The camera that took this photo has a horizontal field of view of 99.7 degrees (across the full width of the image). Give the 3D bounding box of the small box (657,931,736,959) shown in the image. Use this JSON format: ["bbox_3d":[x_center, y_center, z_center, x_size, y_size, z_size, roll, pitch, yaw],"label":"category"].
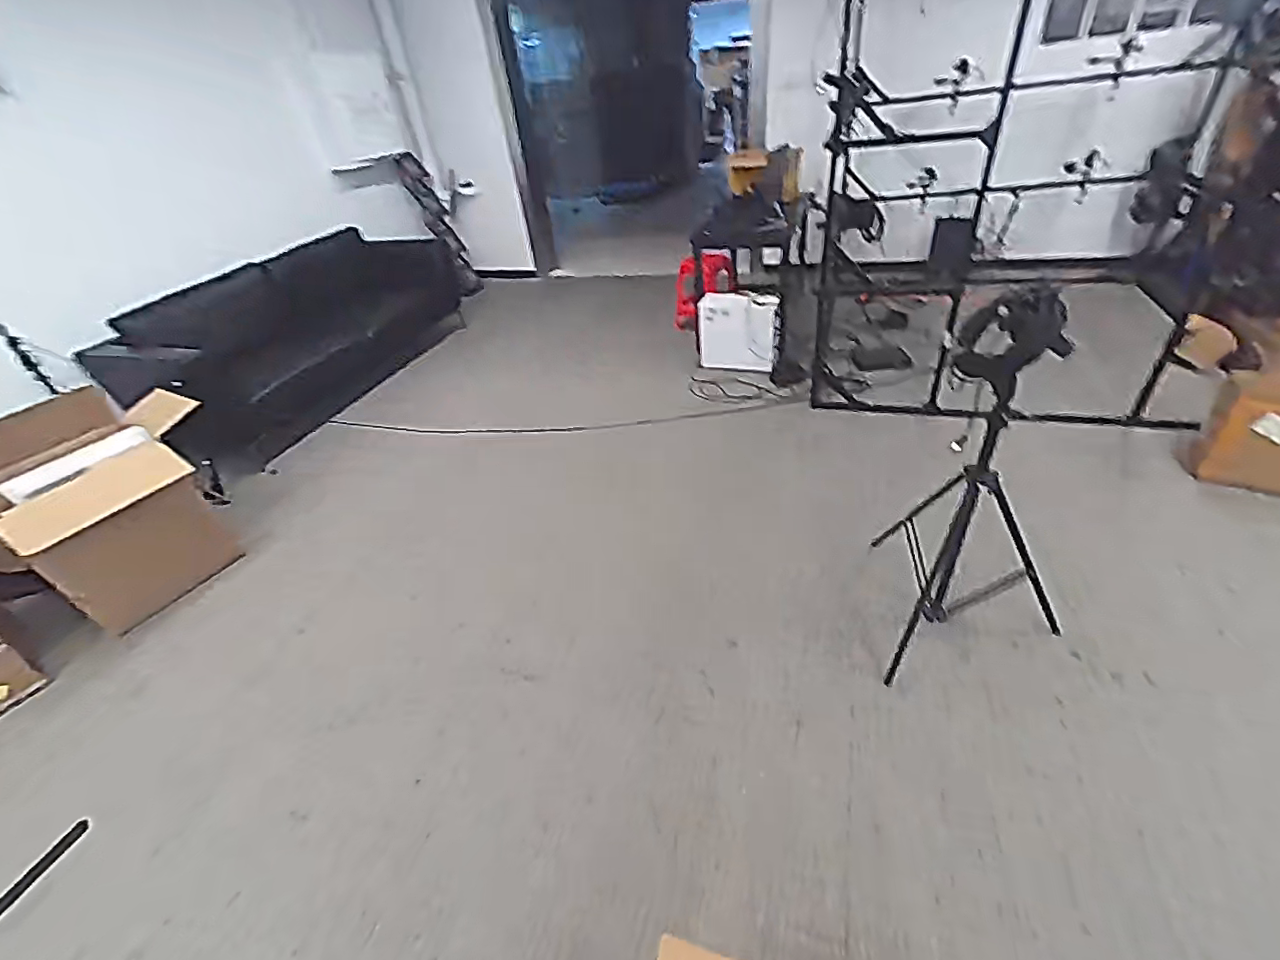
[{"bbox_3d":[0.106,0.917,0.915,0.179,0.176,0.168,7,38,20],"label":"small box"}]
